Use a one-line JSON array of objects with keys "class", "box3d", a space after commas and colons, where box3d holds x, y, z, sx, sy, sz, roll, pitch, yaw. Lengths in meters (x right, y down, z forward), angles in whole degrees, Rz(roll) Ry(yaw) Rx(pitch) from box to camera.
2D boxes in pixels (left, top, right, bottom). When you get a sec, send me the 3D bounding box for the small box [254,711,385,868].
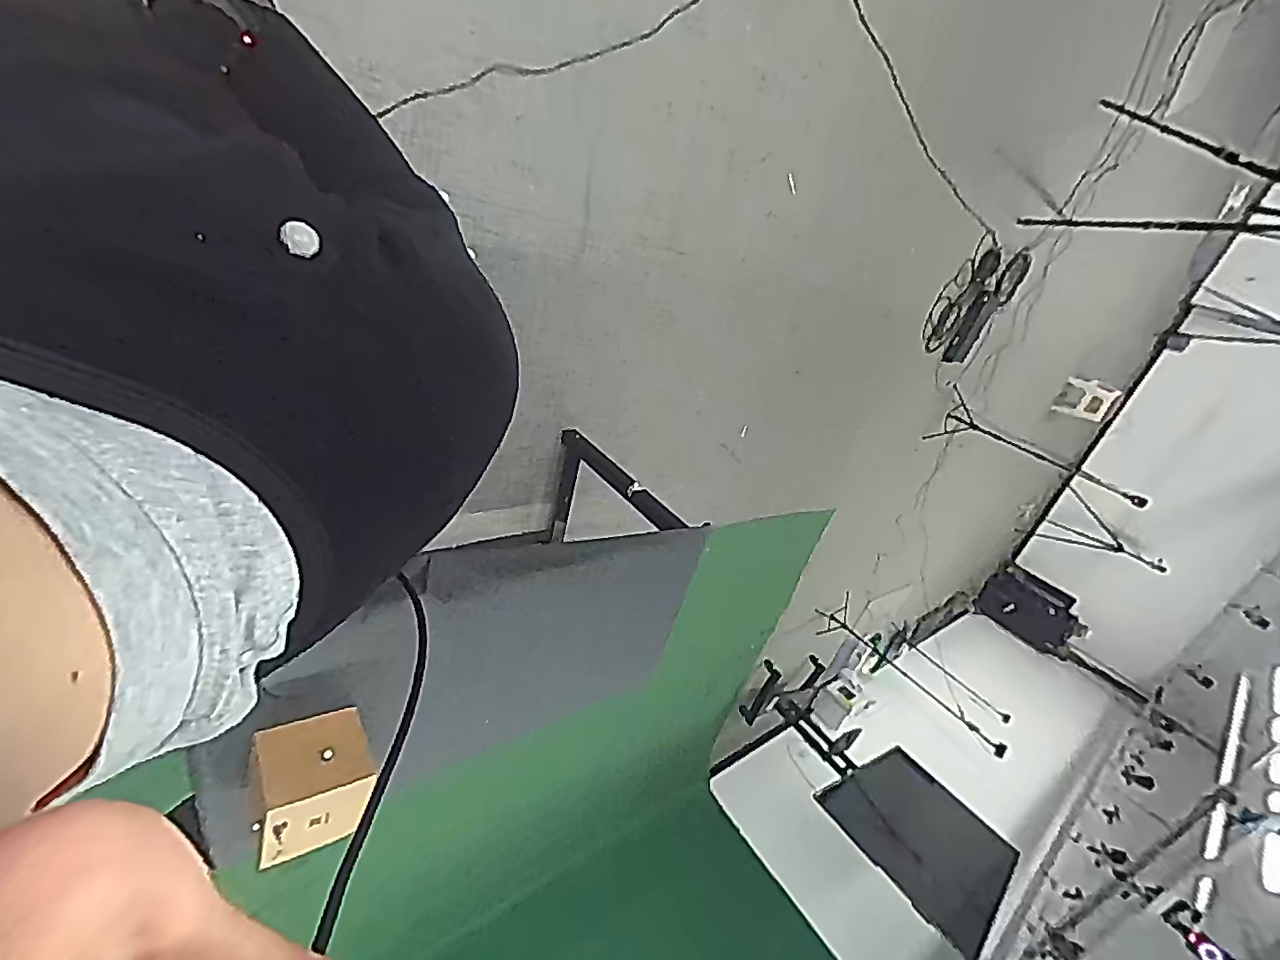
[{"class": "small box", "box3d": [-0.619, 0.579, 1.039, 0.179, 0.176, 0.168, -1, 120, -43]}]
